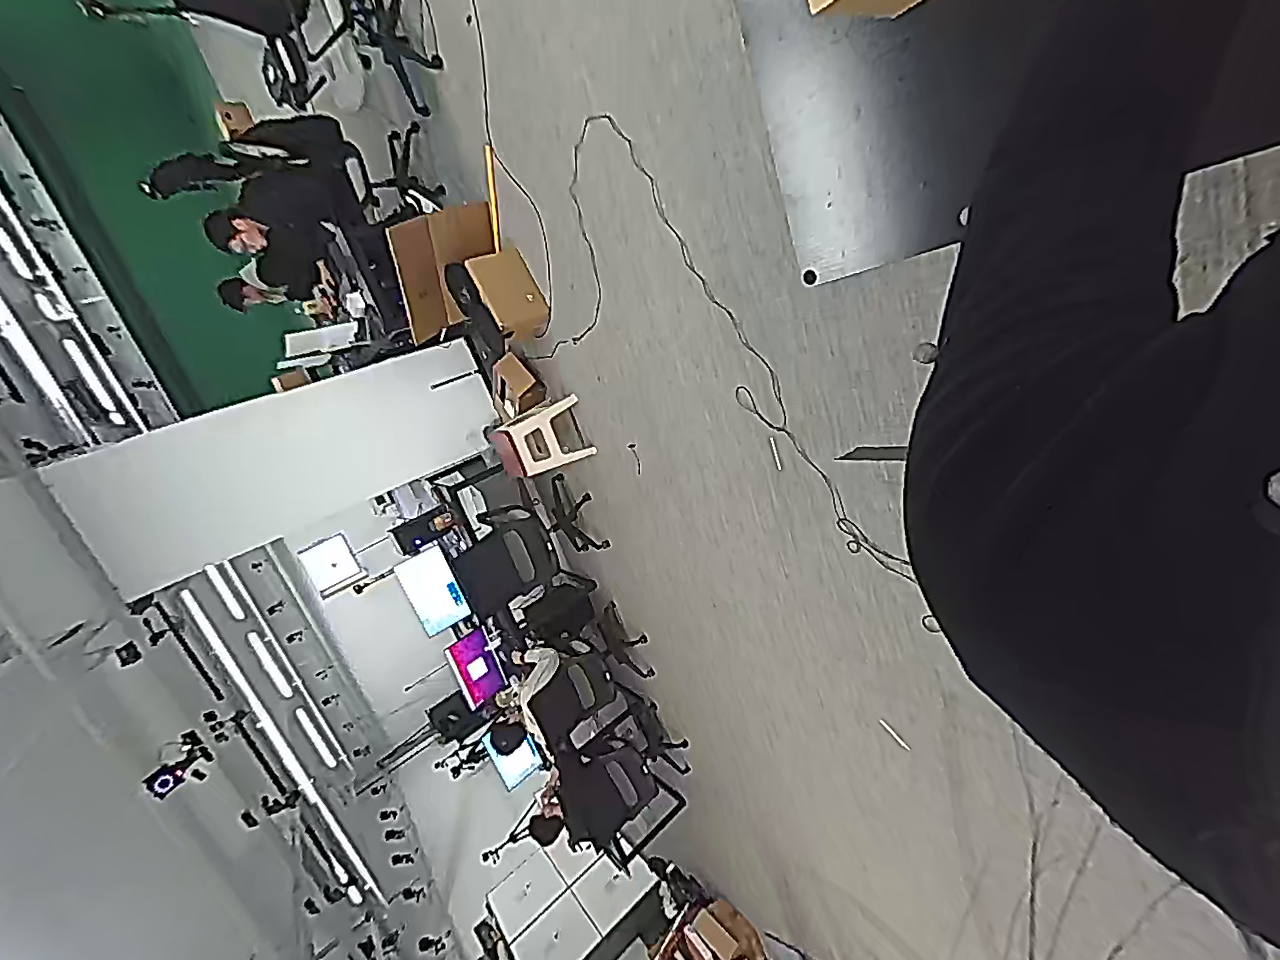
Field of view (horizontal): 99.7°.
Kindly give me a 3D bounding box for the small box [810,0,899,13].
[{"bbox_3d":[0.261,-0.590,0.509,0.168,0.176,0.179,8,121,54],"label":"small box"}]
